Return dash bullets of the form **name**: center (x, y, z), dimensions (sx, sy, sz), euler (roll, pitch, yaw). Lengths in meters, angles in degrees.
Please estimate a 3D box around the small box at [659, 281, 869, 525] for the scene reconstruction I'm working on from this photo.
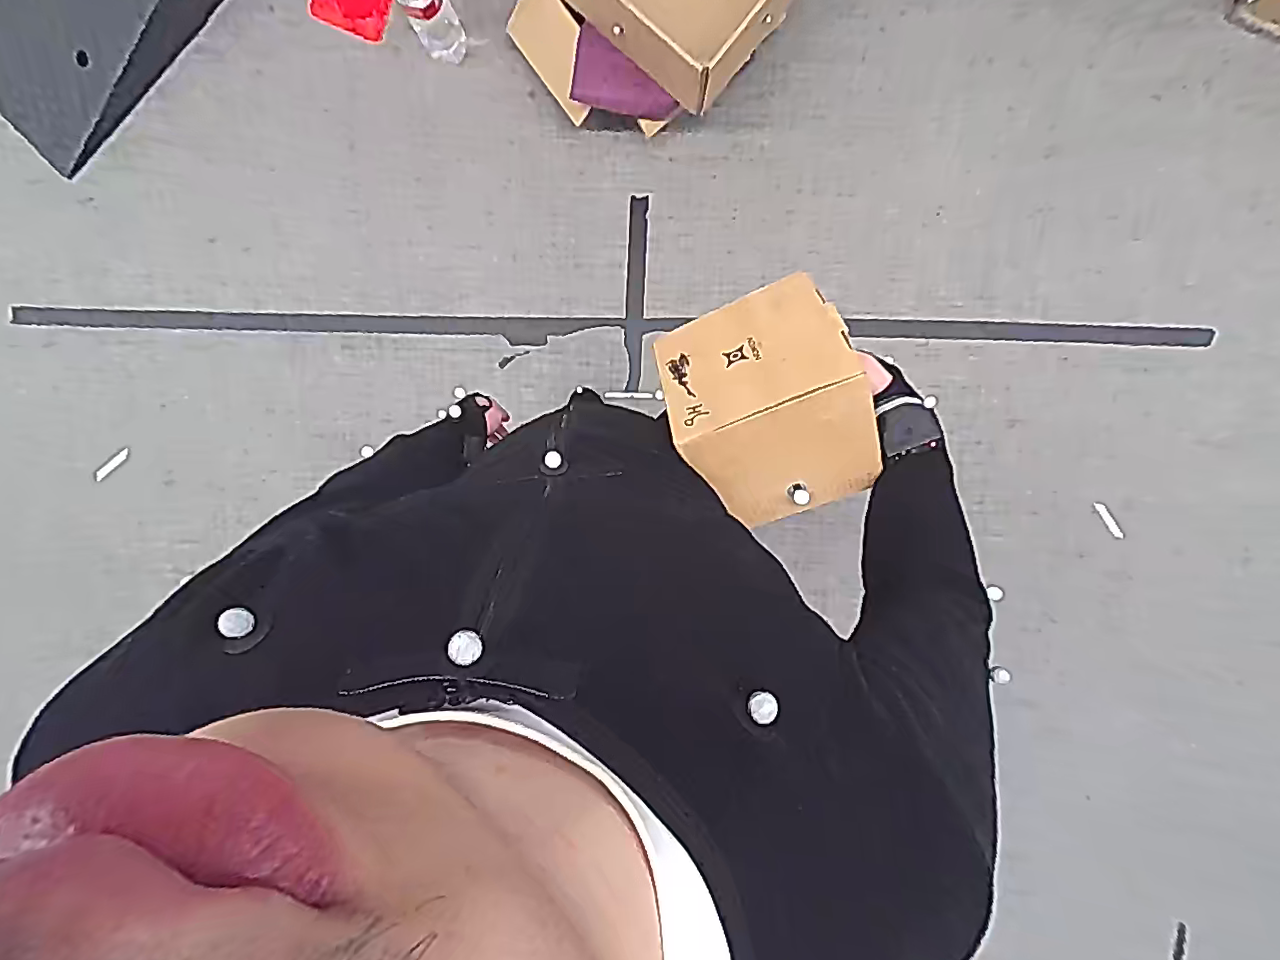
- **small box**: center (0.139, -0.077, 0.598), dimensions (0.179, 0.168, 0.176), euler (-21, 137, 14)
